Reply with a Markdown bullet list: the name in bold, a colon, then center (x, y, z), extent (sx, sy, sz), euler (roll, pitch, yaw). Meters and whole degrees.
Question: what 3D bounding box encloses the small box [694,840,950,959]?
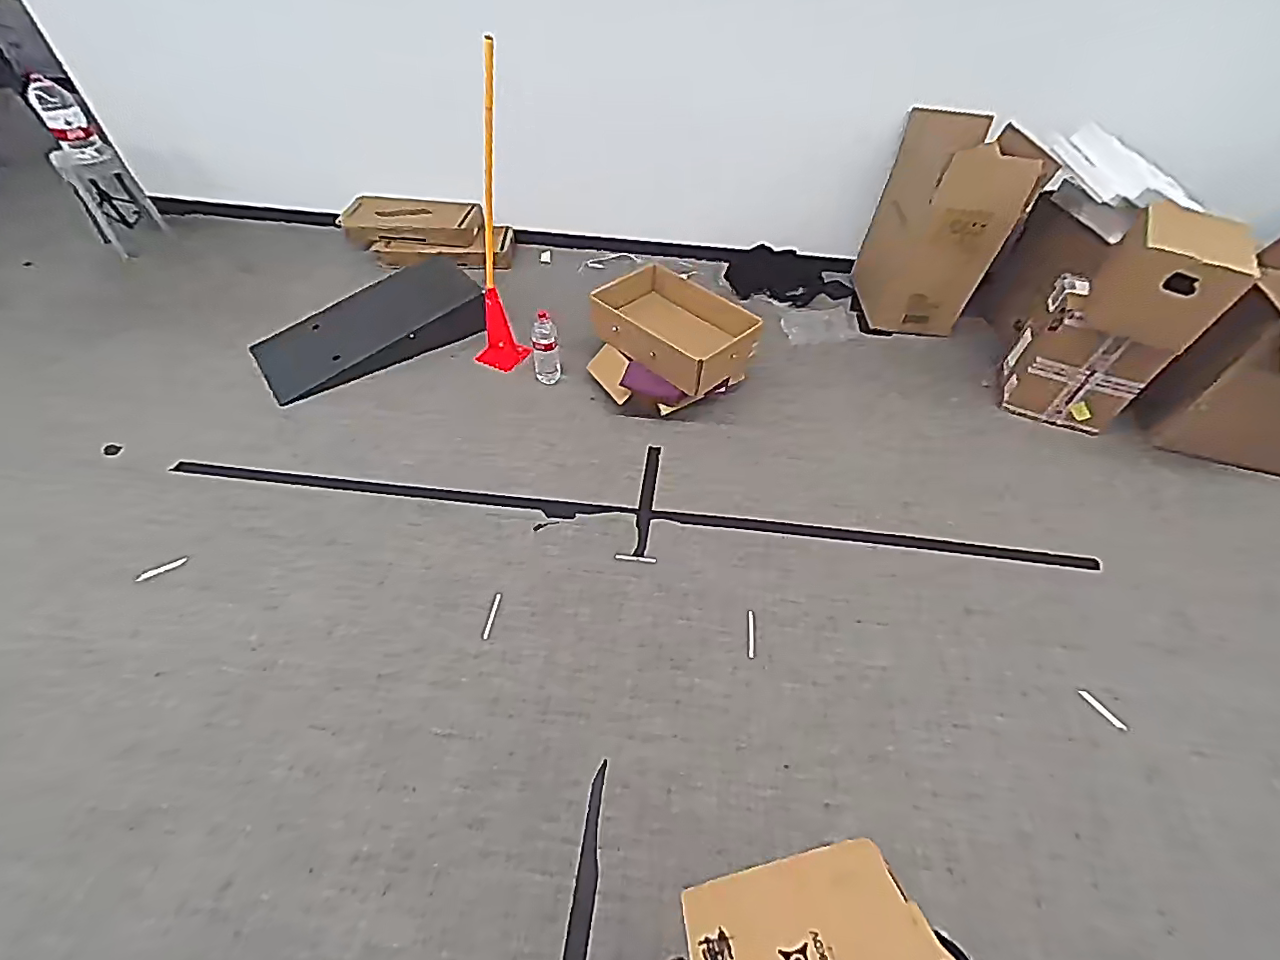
- **small box**: center (0.153, 0.431, 0.414), extent (0.179, 0.176, 0.168), euler (-15, 9, 0)
